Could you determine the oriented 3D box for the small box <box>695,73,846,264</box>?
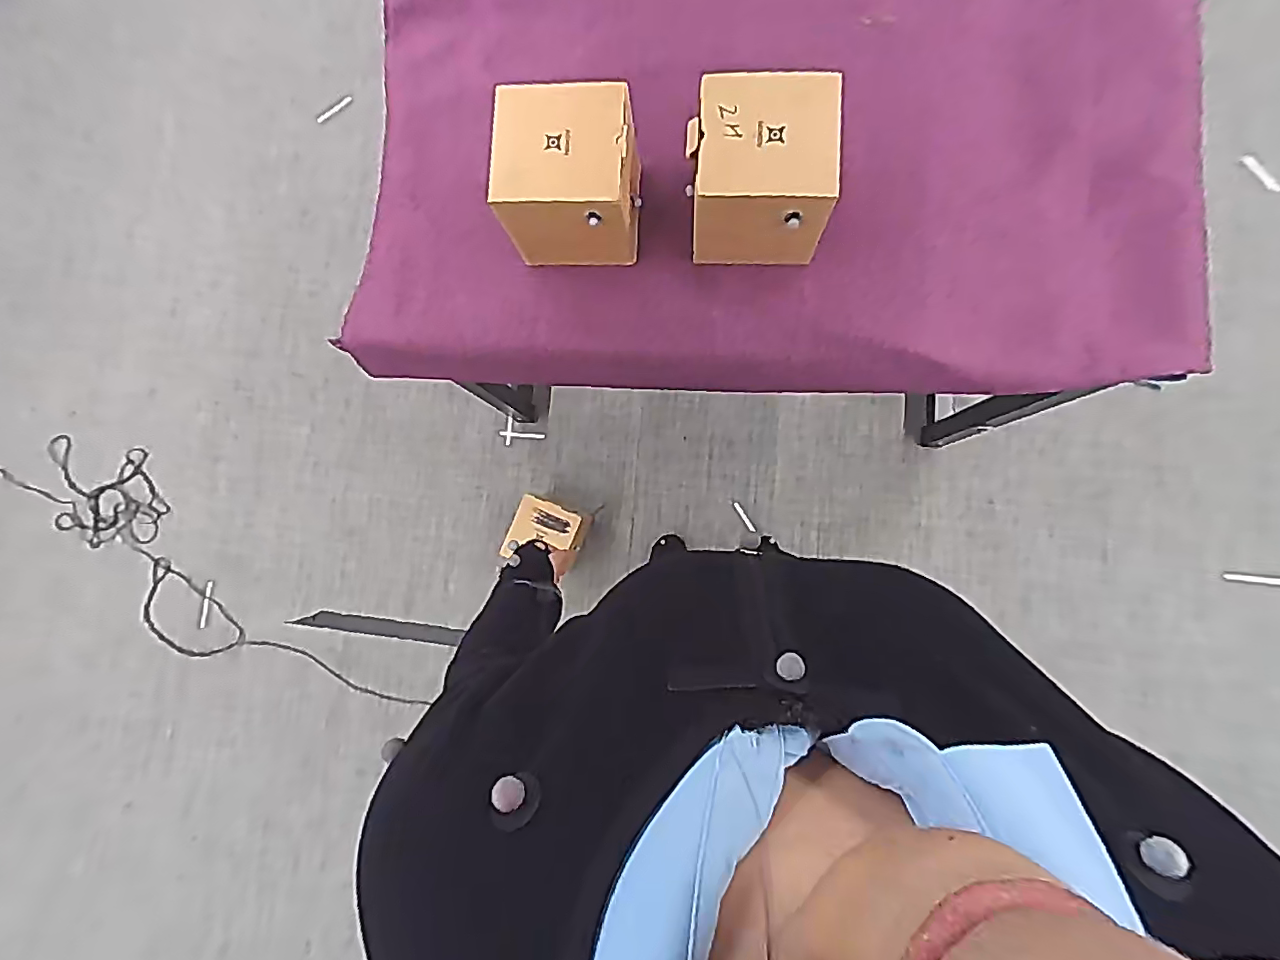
[{"bbox_3d":[0.169,-0.416,0.745,0.179,0.176,0.168,3,84,6],"label":"small box"}]

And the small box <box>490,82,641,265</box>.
[{"bbox_3d":[-0.096,-0.424,0.773,0.179,0.176,0.168,2,84,5],"label":"small box"}]
